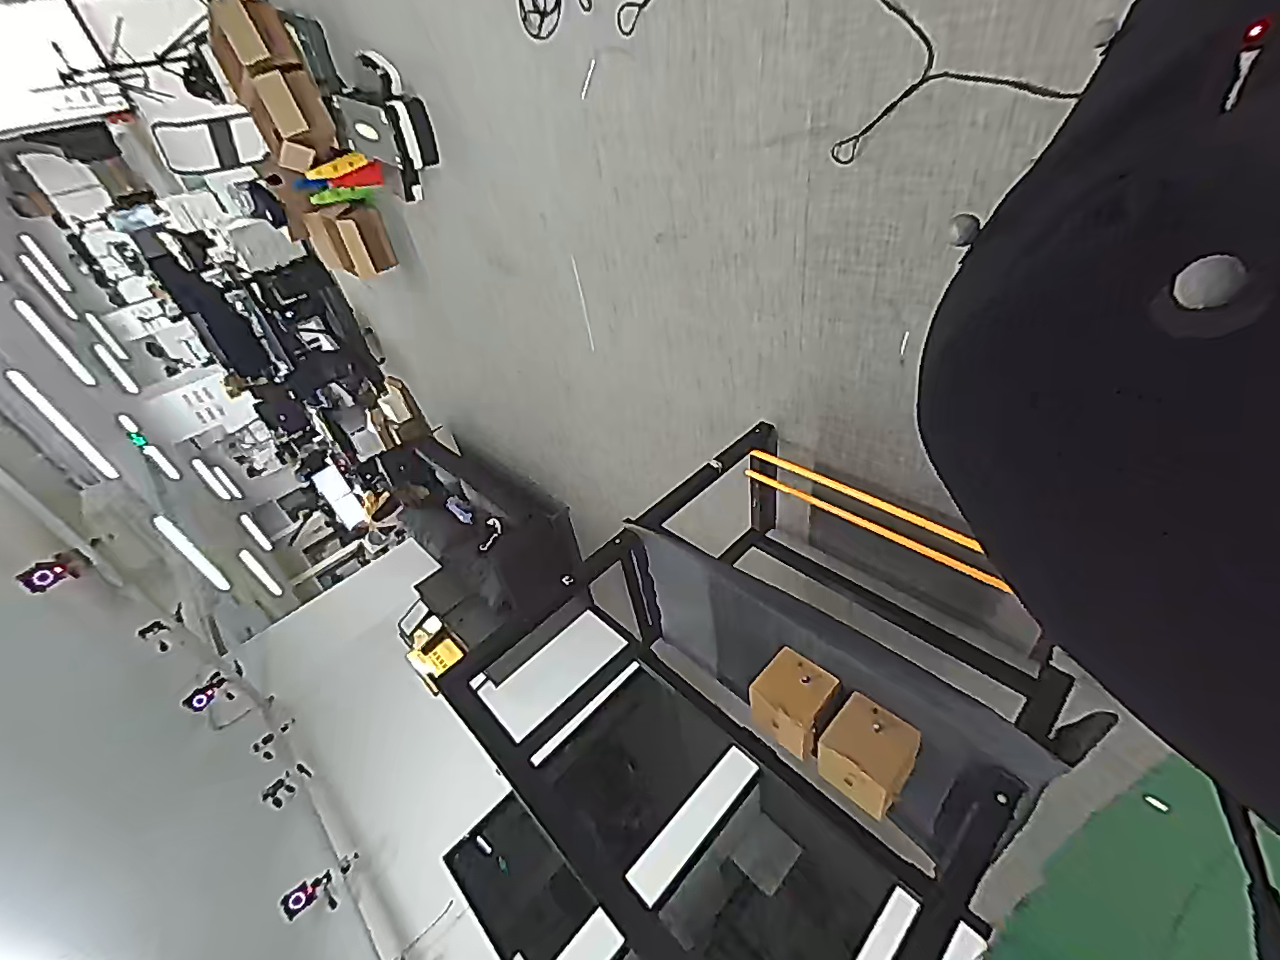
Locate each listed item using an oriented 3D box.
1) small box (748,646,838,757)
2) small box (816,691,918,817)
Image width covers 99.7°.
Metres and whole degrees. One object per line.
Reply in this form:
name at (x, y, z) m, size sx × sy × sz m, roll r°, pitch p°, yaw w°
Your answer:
small box at (0.406, 0.580, 1.430) m, size 0.168 × 0.176 × 0.179 m, roll 26°, pitch 142°, yaw 39°
small box at (0.543, 0.651, 1.296) m, size 0.168 × 0.176 × 0.179 m, roll 27°, pitch 142°, yaw 40°
